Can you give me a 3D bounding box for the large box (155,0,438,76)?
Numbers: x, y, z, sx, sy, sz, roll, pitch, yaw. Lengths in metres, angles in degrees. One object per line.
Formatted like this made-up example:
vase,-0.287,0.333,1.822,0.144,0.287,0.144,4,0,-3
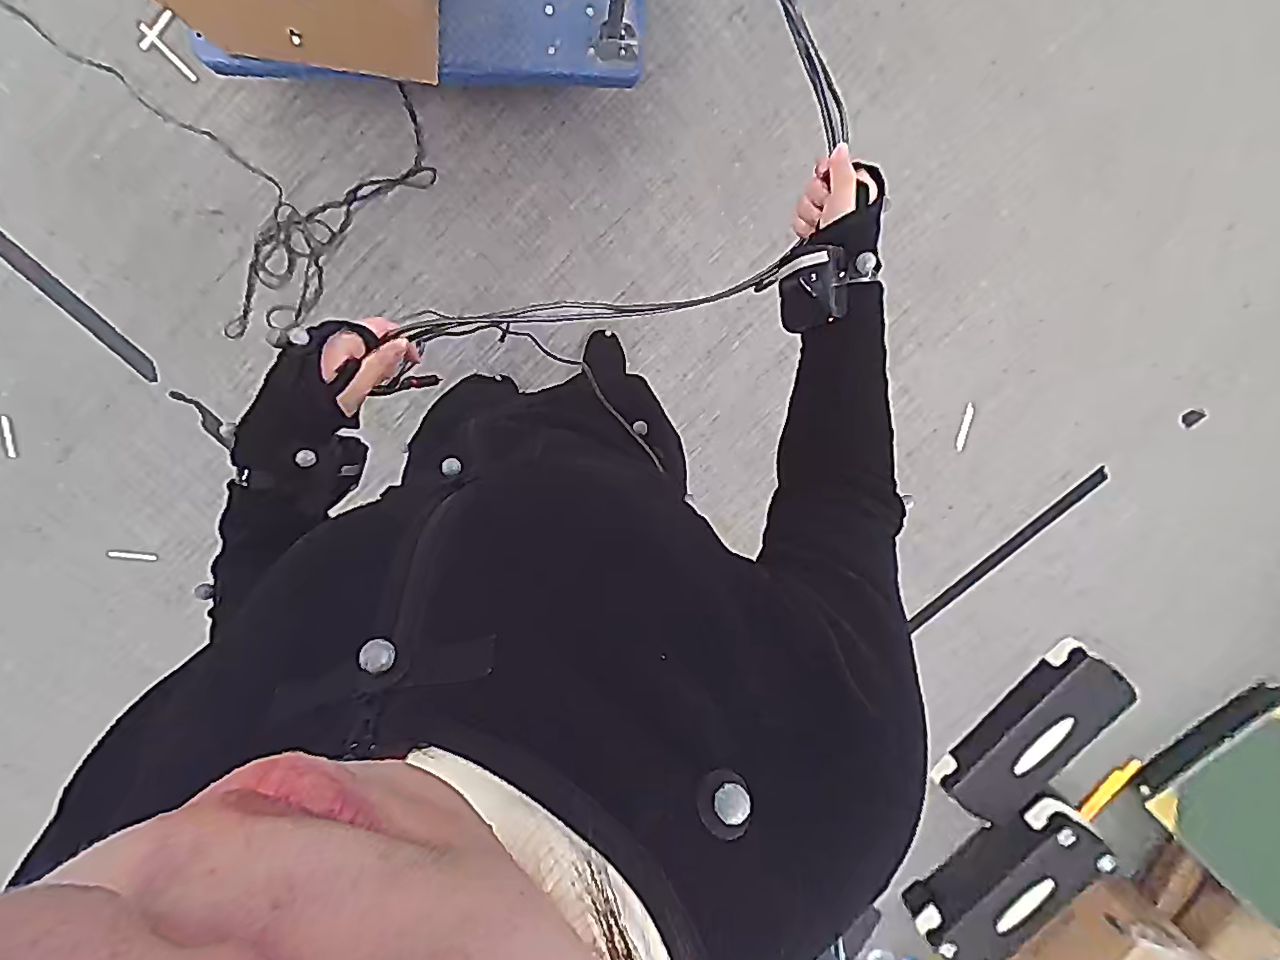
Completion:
large box,-0.573,-0.908,0.869,0.408,0.320,0.320,4,105,-5
